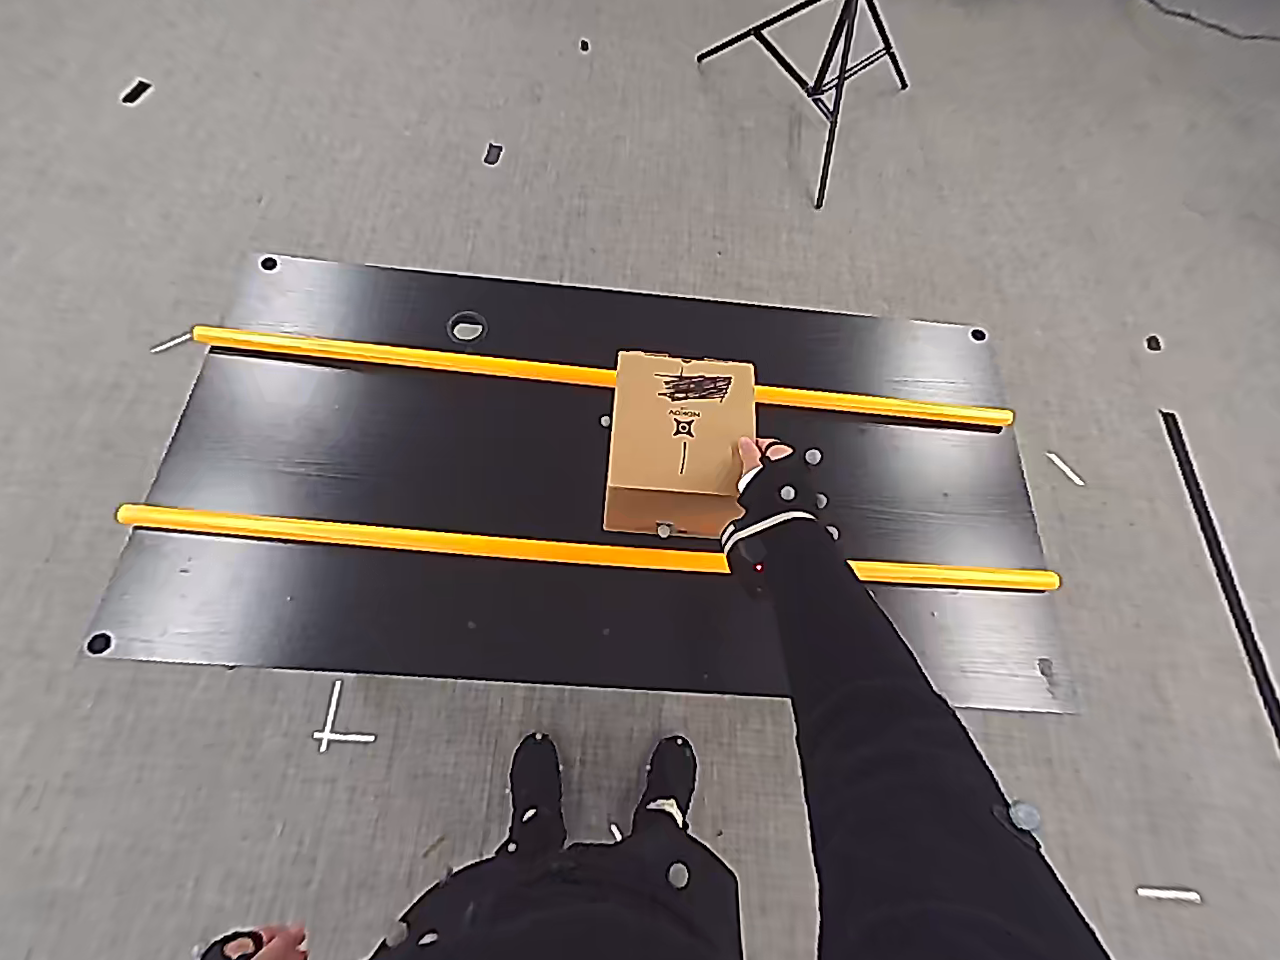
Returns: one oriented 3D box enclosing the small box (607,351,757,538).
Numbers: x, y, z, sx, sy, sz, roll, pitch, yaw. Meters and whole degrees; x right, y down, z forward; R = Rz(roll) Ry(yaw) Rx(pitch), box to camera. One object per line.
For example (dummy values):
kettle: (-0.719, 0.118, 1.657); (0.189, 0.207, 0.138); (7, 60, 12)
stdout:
small box: (0.047, -0.038, 0.693); (0.168, 0.176, 0.179); (5, 68, -3)
